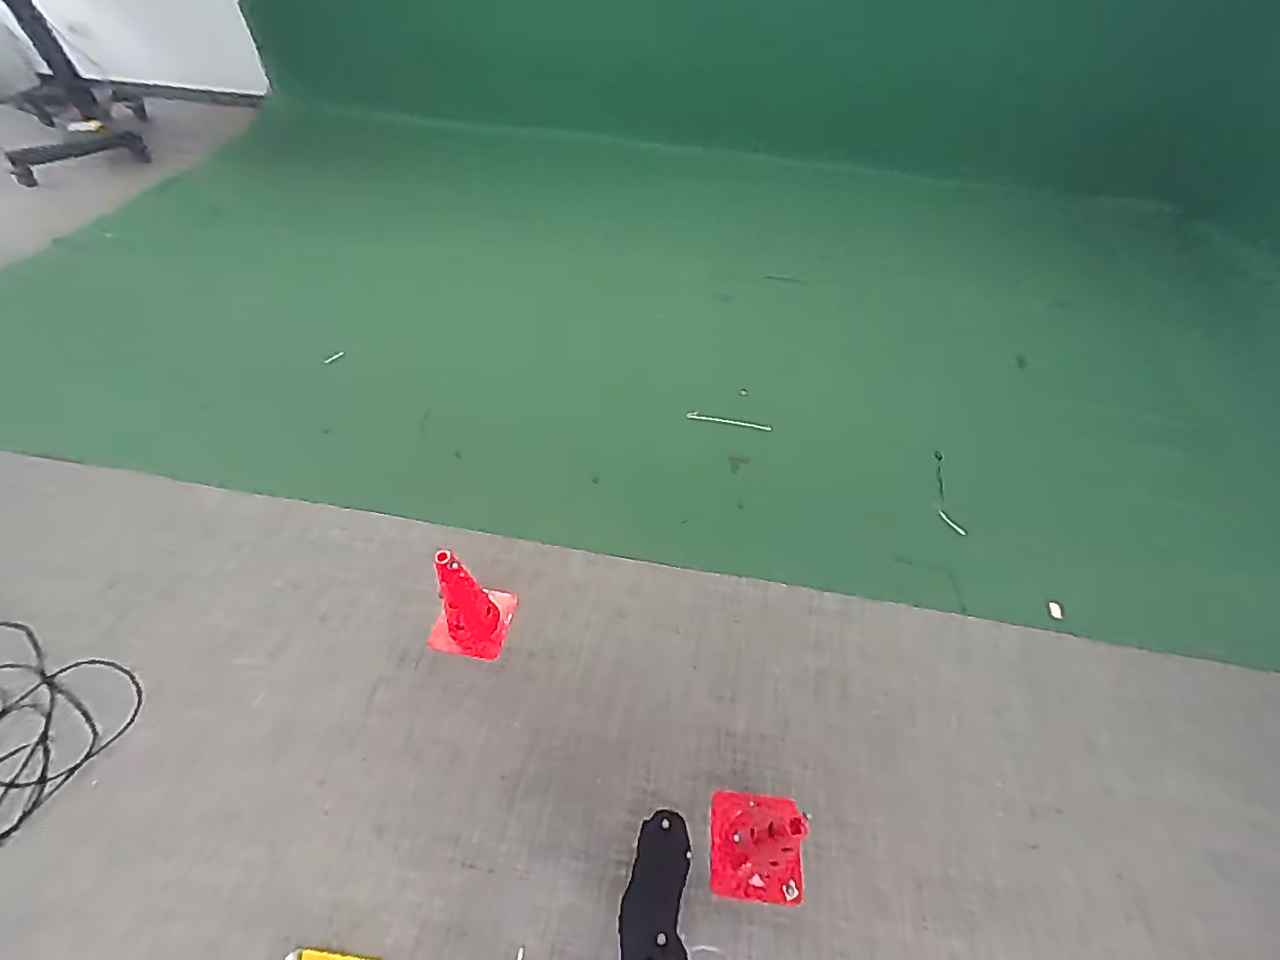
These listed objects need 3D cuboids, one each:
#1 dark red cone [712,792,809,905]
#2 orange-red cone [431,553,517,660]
[{"bbox_3d":[0.265,0.699,1.061,0.202,0.394,0.201,5,50,2],"label":"dark red cone"},{"bbox_3d":[-0.462,0.294,1.387,0.198,0.360,0.199,9,52,6],"label":"orange-red cone"}]
